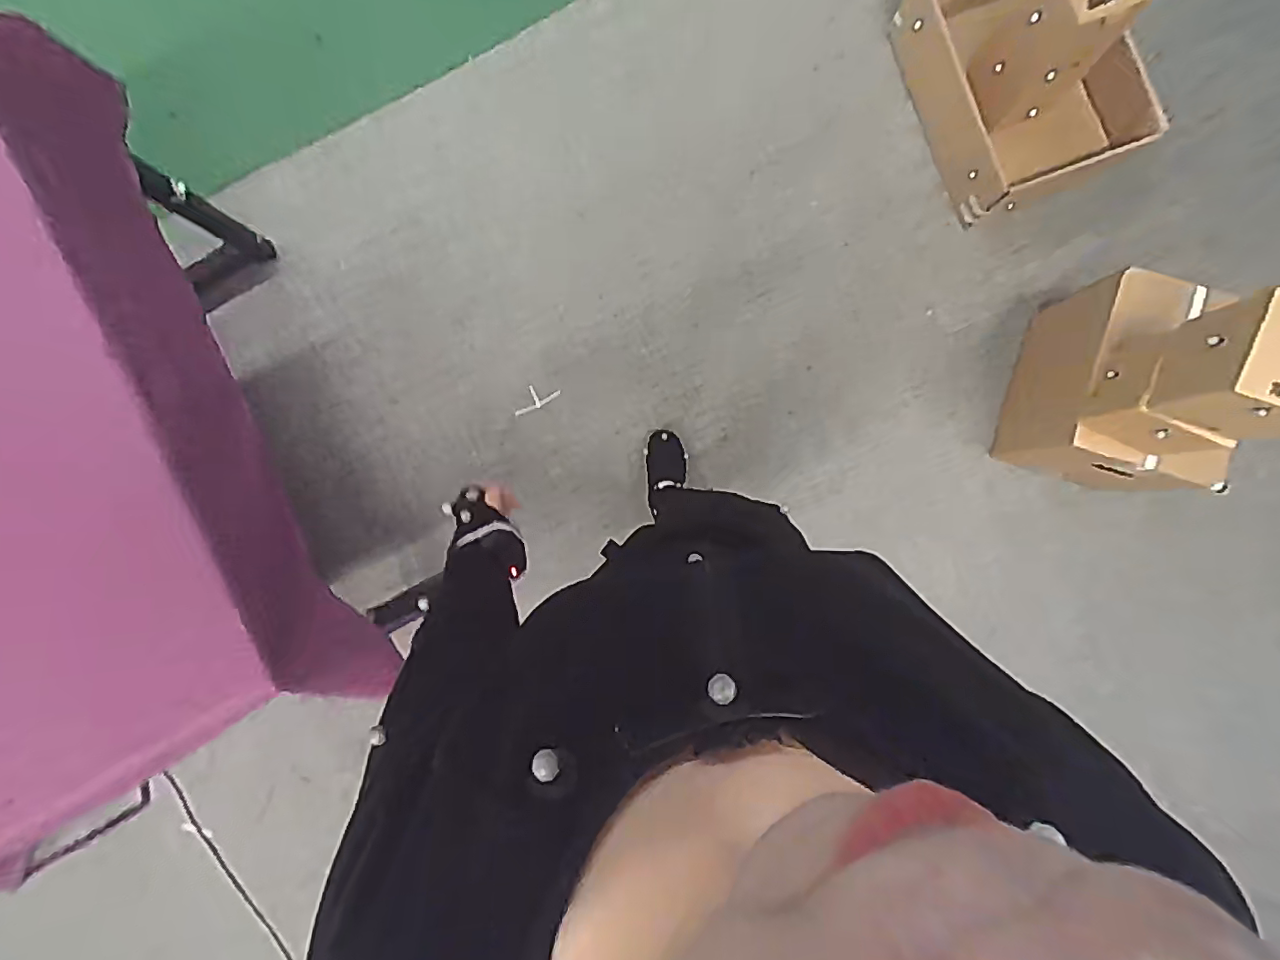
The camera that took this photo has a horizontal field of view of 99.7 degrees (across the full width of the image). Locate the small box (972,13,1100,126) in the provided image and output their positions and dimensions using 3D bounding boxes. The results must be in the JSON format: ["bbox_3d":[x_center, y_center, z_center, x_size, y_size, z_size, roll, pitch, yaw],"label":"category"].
[{"bbox_3d":[0.965,-1.033,1.337,0.168,0.176,0.179,-20,87,4],"label":"small box"}]

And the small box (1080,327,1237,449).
[{"bbox_3d":[1.030,-0.169,1.053,0.179,0.176,0.168,27,91,7],"label":"small box"}]

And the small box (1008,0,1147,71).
[{"bbox_3d":[0.952,-1.038,1.173,0.168,0.176,0.179,-19,86,3],"label":"small box"}]

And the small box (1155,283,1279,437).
[{"bbox_3d":[1.018,-0.187,0.890,0.168,0.176,0.179,23,90,7],"label":"small box"}]
